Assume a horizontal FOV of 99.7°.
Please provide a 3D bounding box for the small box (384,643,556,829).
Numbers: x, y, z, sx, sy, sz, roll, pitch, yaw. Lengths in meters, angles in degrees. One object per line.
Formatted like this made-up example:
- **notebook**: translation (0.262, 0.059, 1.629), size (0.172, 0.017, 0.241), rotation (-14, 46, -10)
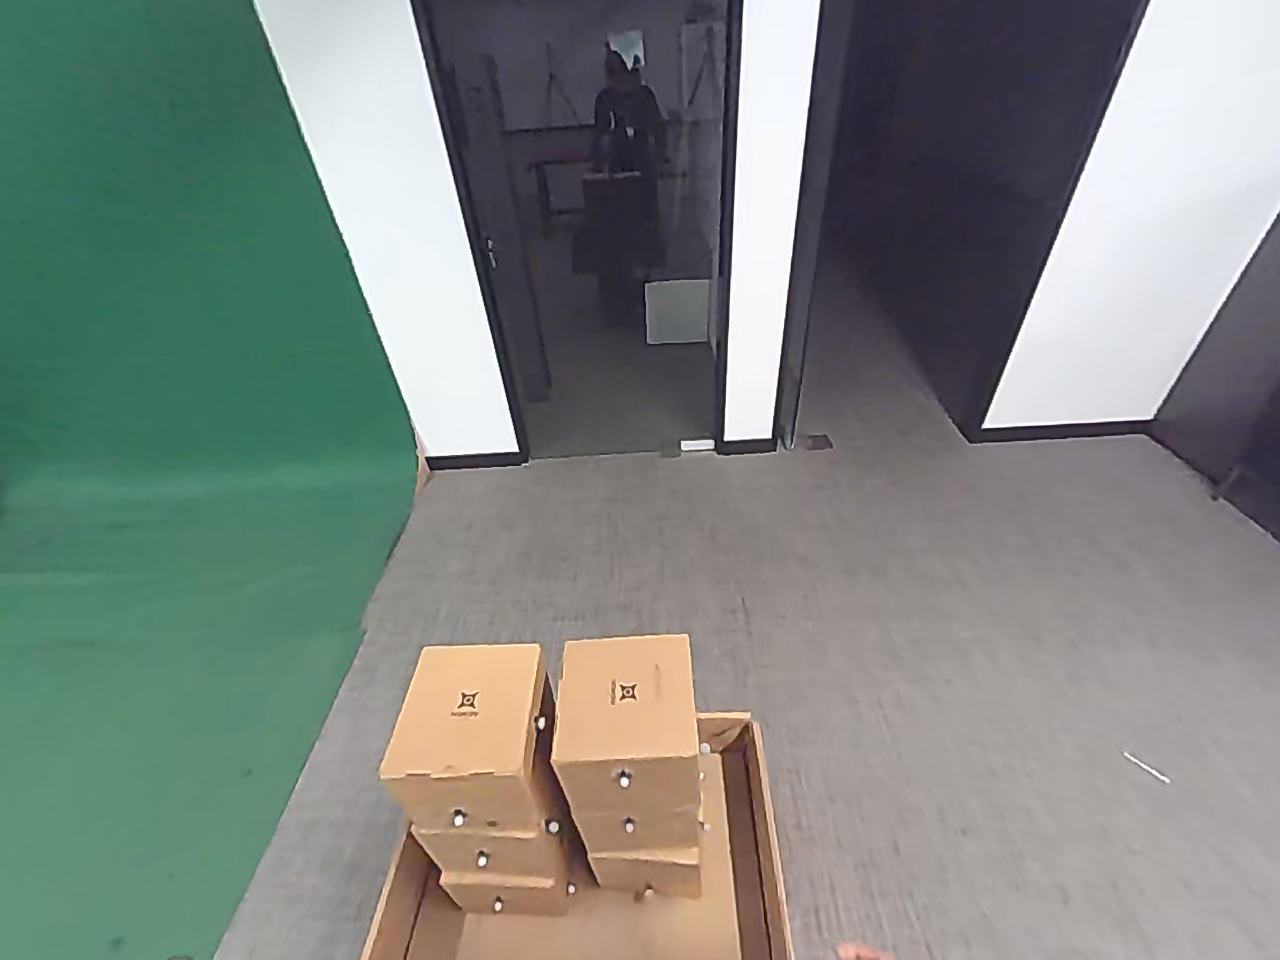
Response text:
- **small box**: translation (-0.213, 0.344, 0.734), size (0.168, 0.176, 0.179), rotation (-2, 38, 1)
